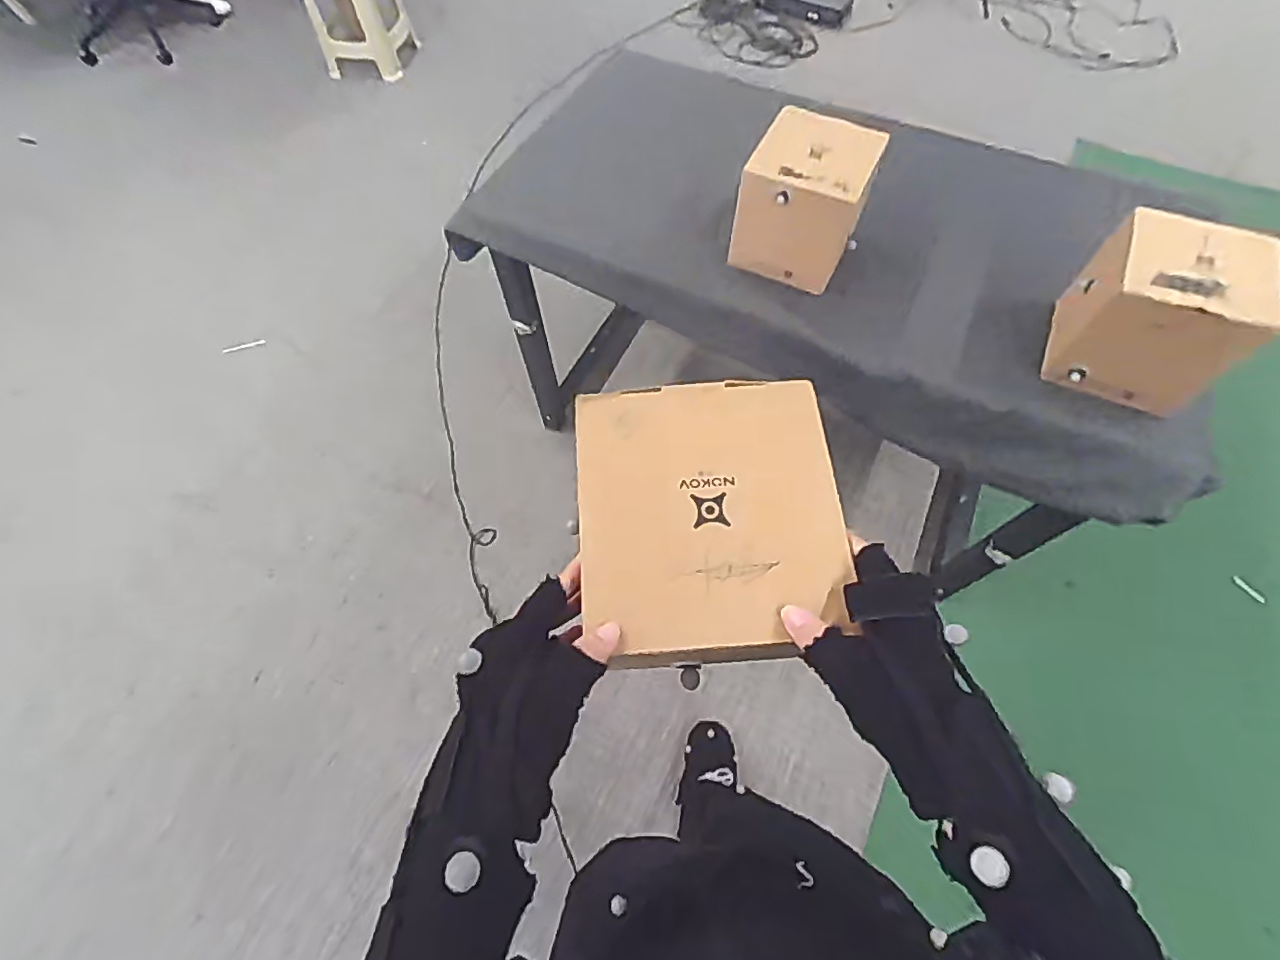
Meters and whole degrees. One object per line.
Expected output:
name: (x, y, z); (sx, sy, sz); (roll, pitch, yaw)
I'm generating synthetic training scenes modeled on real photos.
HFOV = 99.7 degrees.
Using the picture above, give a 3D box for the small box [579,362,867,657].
small box: (0.046, 0.034, 0.421); (0.168, 0.176, 0.179); (-7, 68, -1)

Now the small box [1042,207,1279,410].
small box: (0.686, -0.225, 0.731); (0.168, 0.176, 0.179); (24, 65, 15)

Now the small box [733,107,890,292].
small box: (0.258, -0.435, 0.848); (0.168, 0.176, 0.179); (24, 65, 13)
